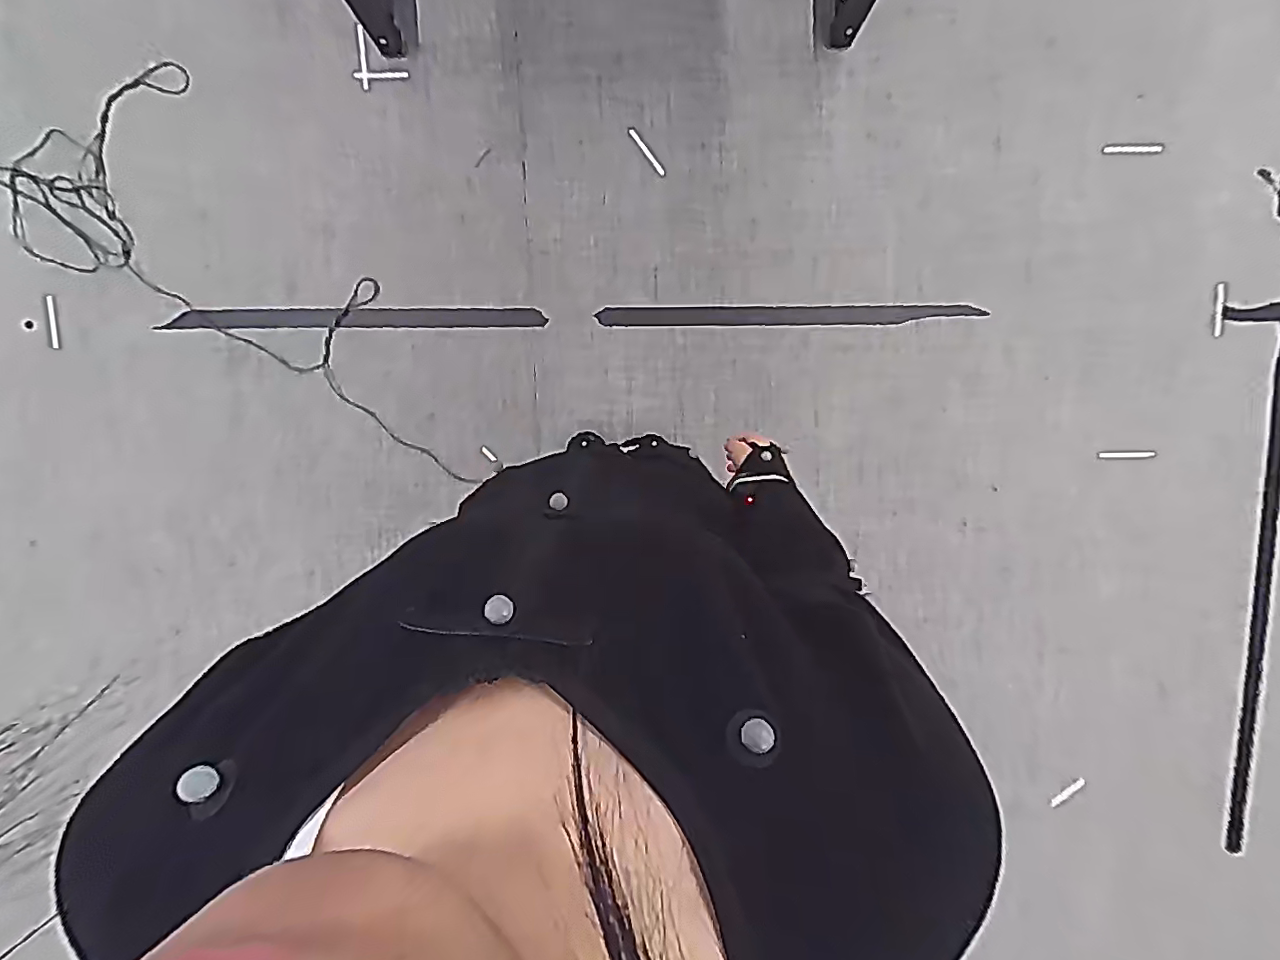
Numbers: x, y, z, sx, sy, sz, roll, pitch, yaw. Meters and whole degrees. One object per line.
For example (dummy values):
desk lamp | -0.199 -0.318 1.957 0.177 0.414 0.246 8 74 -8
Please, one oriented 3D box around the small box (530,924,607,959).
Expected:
small box | -0.164 1.164 1.238 0.179 0.176 0.168 -2 94 0
